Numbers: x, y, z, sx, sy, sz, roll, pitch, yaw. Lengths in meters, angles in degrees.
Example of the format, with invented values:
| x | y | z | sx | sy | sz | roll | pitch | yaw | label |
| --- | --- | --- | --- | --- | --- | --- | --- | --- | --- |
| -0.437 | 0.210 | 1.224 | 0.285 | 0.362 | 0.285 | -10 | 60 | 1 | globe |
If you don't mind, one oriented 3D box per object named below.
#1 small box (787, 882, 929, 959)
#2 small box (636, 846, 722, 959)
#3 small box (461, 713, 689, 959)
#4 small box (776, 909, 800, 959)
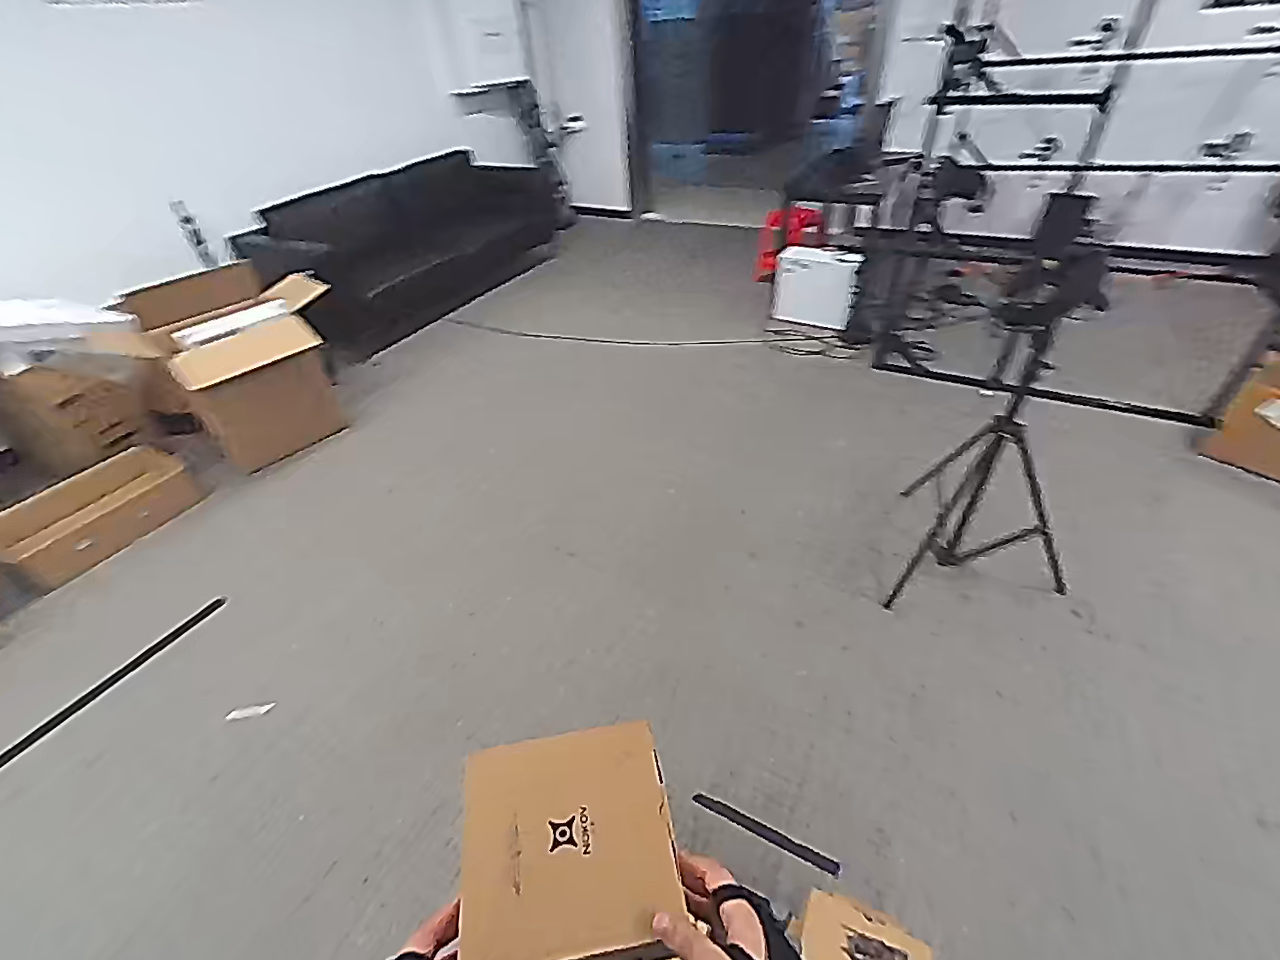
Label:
| x | y | z | sx | sy | sz | roll | pitch | yaw | label |
| --- | --- | --- | --- | --- | --- | --- | --- | --- | --- |
| 0.298 | 0.736 | 0.778 | 0.168 | 0.176 | 0.179 | 14 | 44 | 23 | small box |
| 0.042 | 0.791 | 0.997 | 0.179 | 0.176 | 0.168 | 14 | 43 | 22 | small box |
| -0.061 | 0.353 | 0.516 | 0.179 | 0.176 | 0.168 | -10 | 44 | -7 | small box |
| 0.299 | 0.862 | 0.884 | 0.168 | 0.176 | 0.179 | 15 | 44 | 23 | small box |
